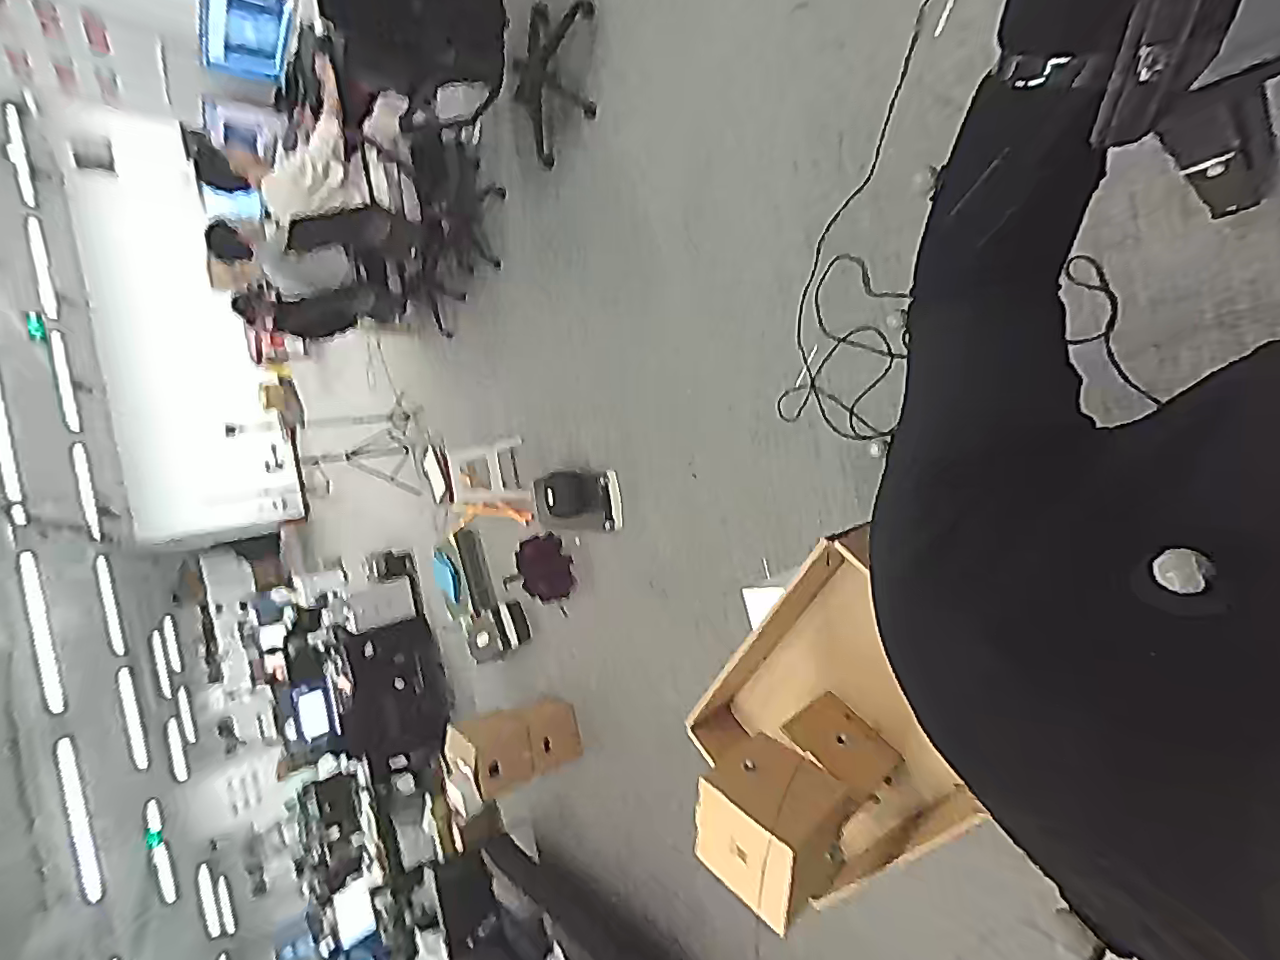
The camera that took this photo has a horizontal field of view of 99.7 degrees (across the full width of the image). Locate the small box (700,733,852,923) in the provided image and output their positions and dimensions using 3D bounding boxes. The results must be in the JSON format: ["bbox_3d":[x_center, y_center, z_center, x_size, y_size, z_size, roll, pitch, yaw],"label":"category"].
[{"bbox_3d":[0.222,0.554,0.895,0.179,0.176,0.168,16,112,45],"label":"small box"}]
